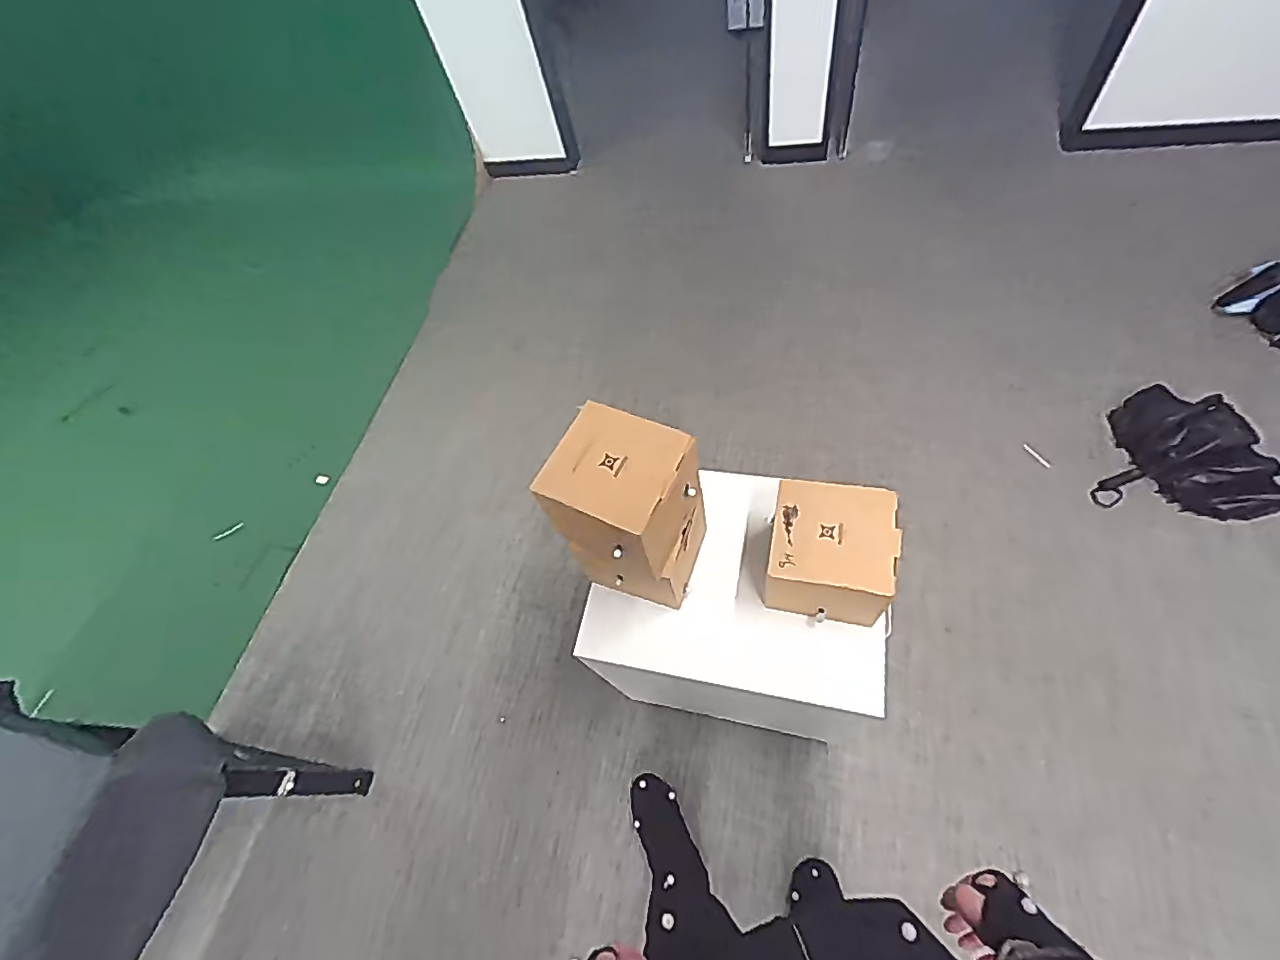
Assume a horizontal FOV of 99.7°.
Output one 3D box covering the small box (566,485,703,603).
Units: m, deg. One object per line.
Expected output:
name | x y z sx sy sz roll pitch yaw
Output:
small box | 0.003 0.095 0.922 0.179 0.176 0.168 15 63 17

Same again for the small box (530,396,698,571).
small box | -0.024 0.012 0.786 0.179 0.176 0.168 21 64 20

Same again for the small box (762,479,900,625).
small box | 0.297 0.120 0.860 0.179 0.176 0.168 9 62 14
